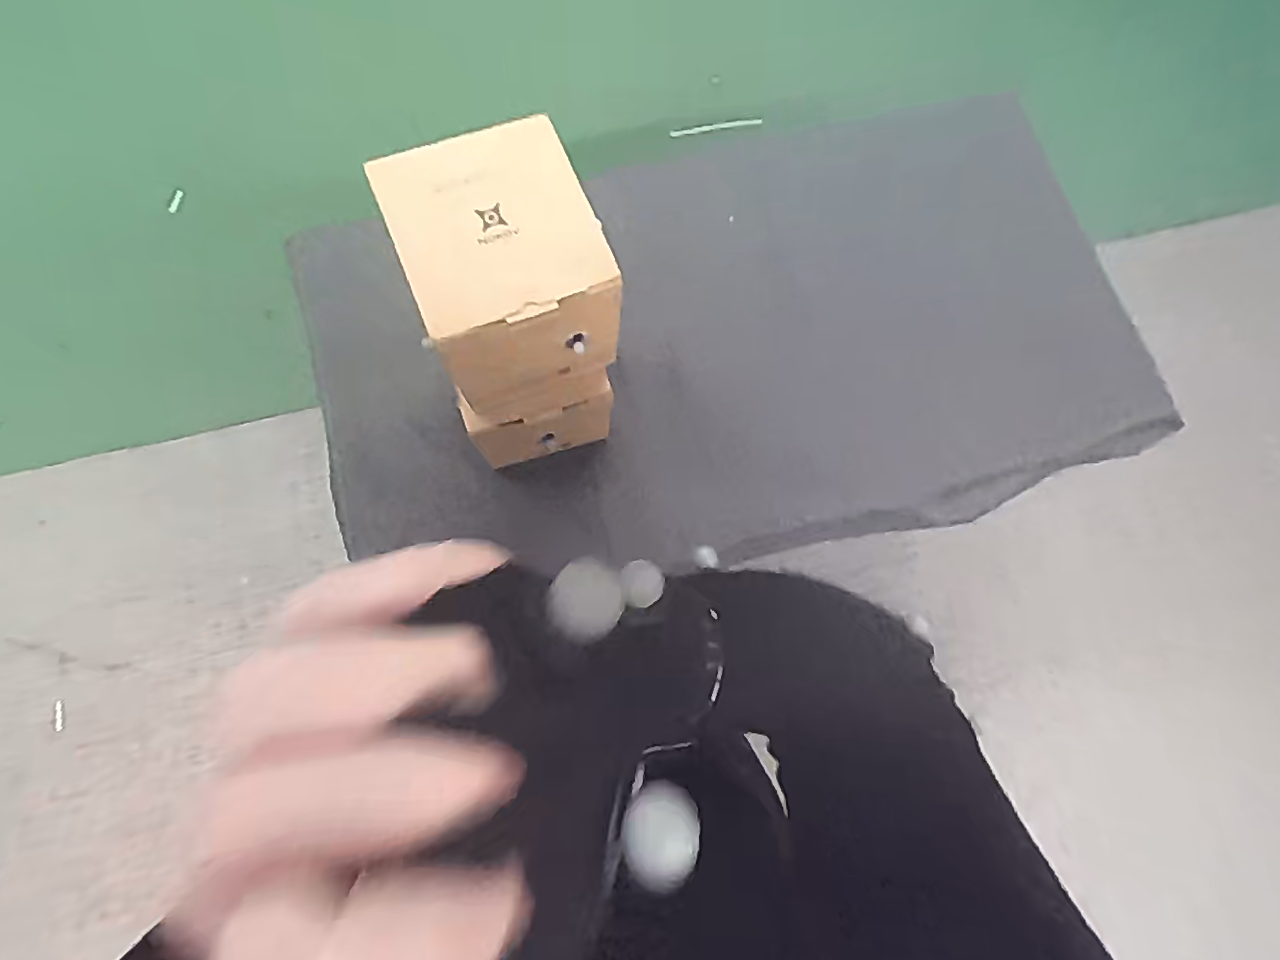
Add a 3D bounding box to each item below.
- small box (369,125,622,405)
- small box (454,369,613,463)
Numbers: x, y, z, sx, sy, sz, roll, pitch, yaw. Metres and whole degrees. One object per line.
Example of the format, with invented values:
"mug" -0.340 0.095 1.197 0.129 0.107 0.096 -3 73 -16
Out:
"small box" -0.127 -0.190 0.529 0.168 0.176 0.179 -23 80 -11
"small box" -0.137 -0.129 0.682 0.168 0.176 0.179 -17 81 -9
